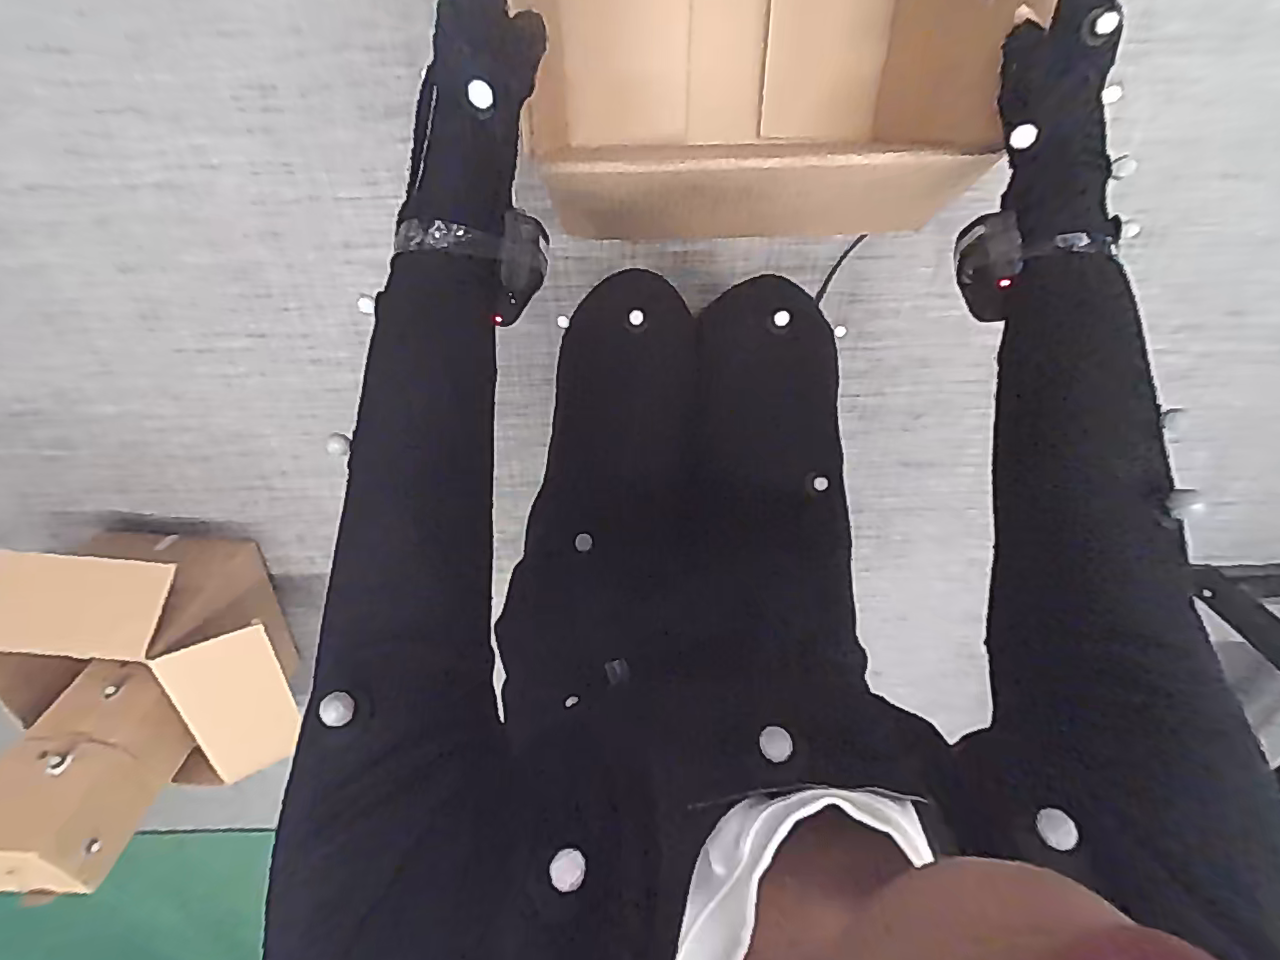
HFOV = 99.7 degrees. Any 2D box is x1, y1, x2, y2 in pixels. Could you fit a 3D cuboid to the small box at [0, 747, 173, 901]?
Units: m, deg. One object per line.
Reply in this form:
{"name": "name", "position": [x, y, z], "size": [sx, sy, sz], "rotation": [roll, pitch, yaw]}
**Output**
{"name": "small box", "position": [-0.946, 0.575, 0.906], "size": [0.168, 0.176, 0.179], "rotation": [3, 126, -4]}
